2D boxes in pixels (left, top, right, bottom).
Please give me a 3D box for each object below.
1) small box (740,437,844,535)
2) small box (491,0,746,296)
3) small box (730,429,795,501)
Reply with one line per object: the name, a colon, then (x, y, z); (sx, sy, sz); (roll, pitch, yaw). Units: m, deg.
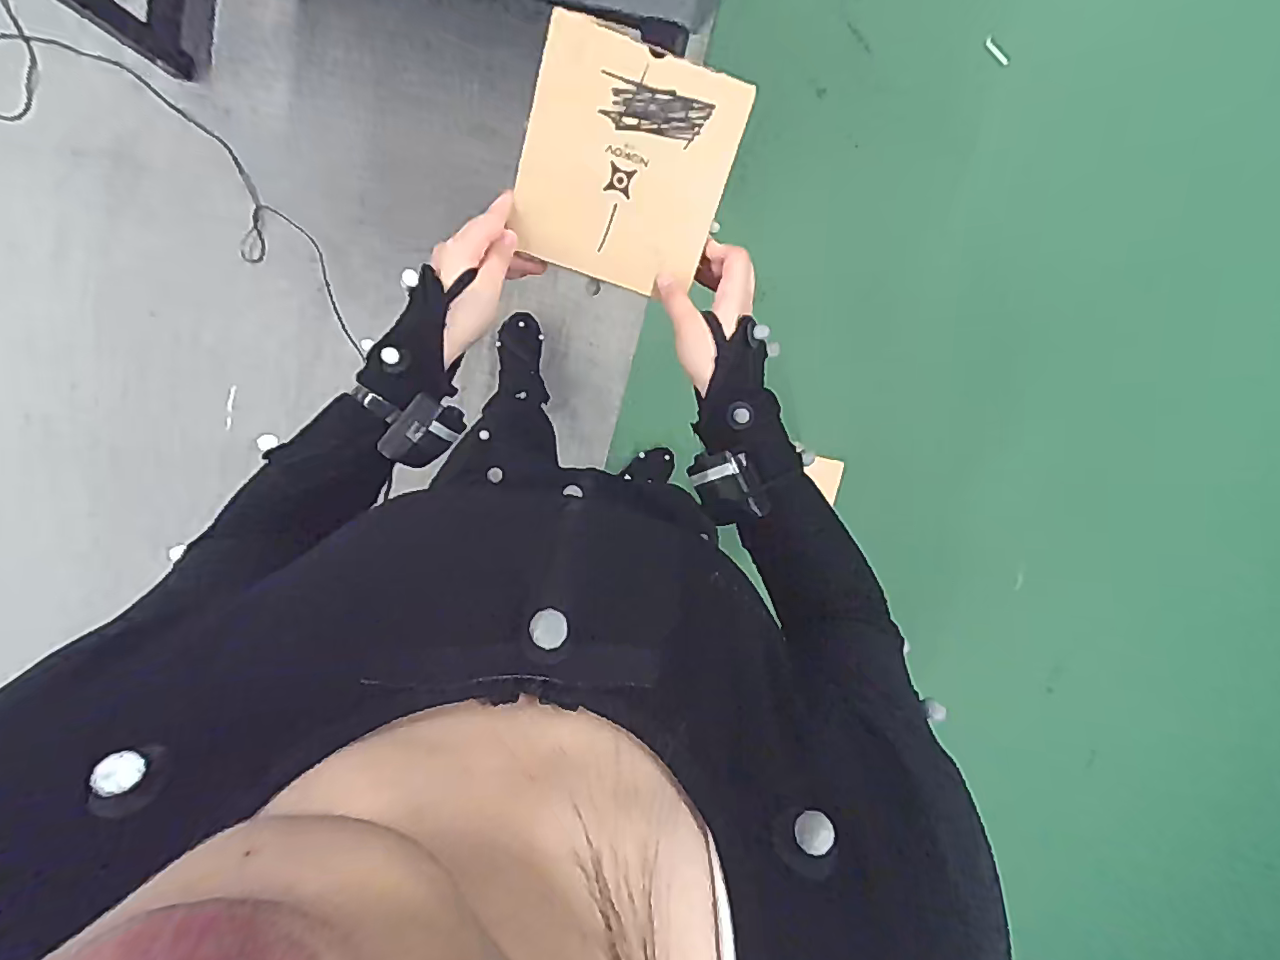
small box: (0.339, 0.008, 1.243); (0.168, 0.176, 0.179); (11, 100, -5)
small box: (-0.022, -0.285, 0.504); (0.168, 0.176, 0.179); (17, 109, -6)
small box: (0.345, -0.020, 1.403); (0.168, 0.176, 0.179); (19, 100, -5)
